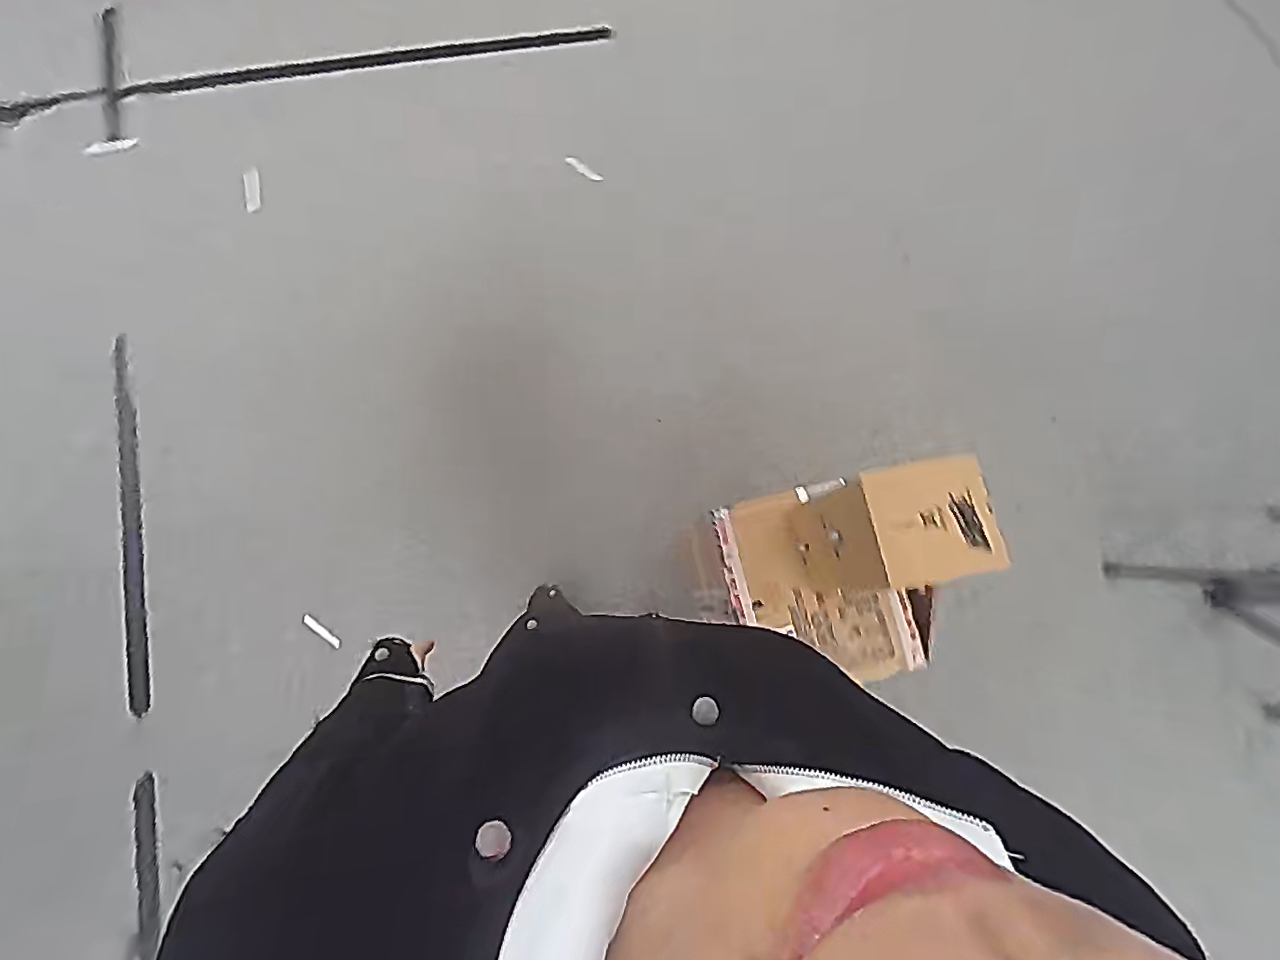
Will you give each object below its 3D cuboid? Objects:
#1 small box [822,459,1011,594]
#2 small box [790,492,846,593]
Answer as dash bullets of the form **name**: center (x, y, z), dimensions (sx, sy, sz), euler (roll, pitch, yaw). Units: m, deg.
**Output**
- **small box**: center (0.404, 0.077, 0.820), dimensions (0.179, 0.176, 0.168), euler (-9, 77, -3)
- **small box**: center (0.398, 0.105, 0.983), dimensions (0.179, 0.176, 0.168), euler (-13, 77, -4)
